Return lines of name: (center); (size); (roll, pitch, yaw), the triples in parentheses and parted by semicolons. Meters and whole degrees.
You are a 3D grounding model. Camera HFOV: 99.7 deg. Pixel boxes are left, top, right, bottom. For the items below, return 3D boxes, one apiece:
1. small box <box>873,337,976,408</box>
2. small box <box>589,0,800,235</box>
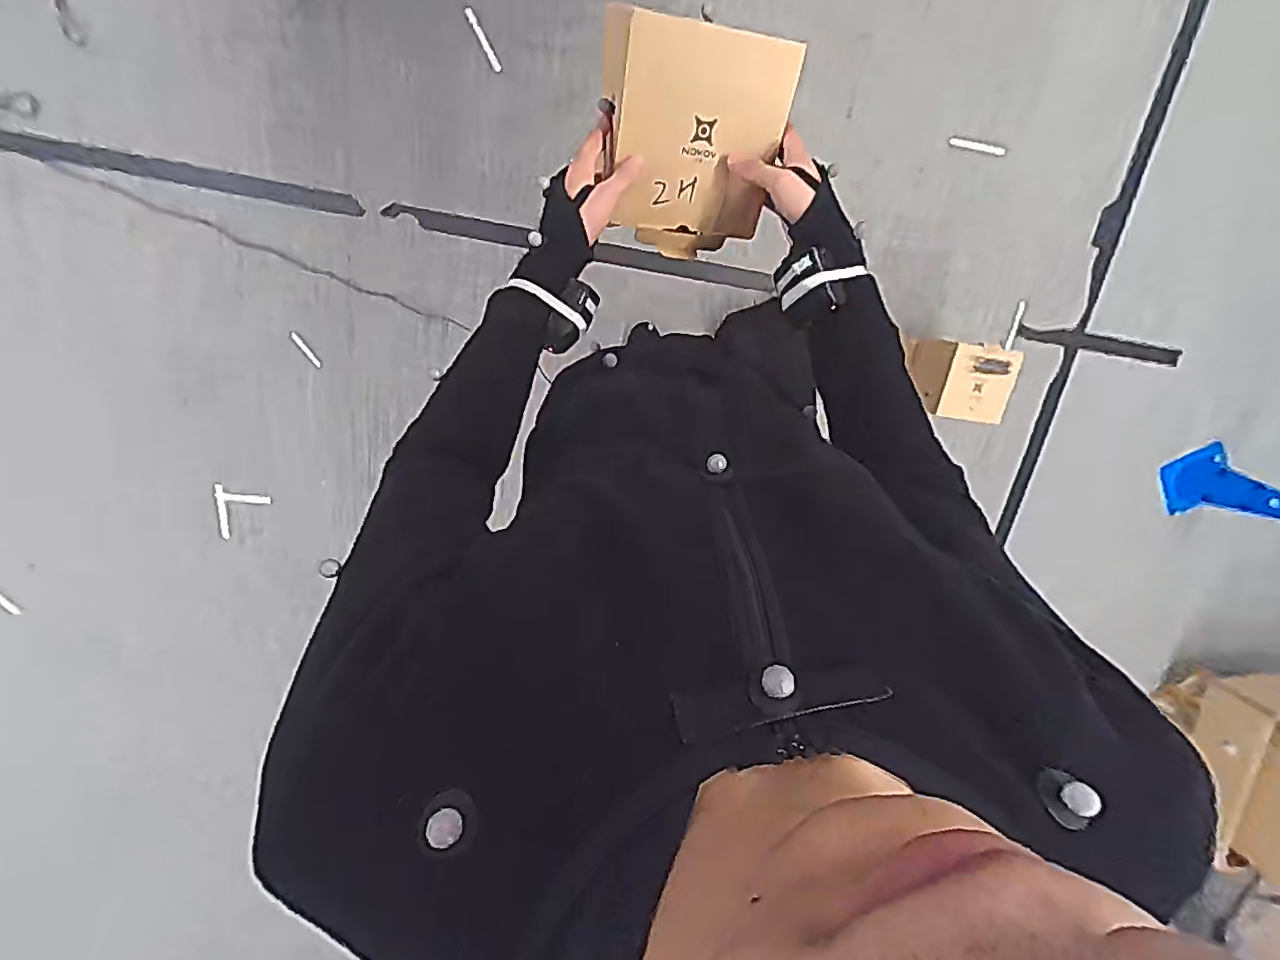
small box: (0.776, -0.302, 1.497); (0.179, 0.176, 0.168); (4, 108, -5)
small box: (0.039, -0.386, 0.576); (0.168, 0.176, 0.179); (0, 132, -13)
